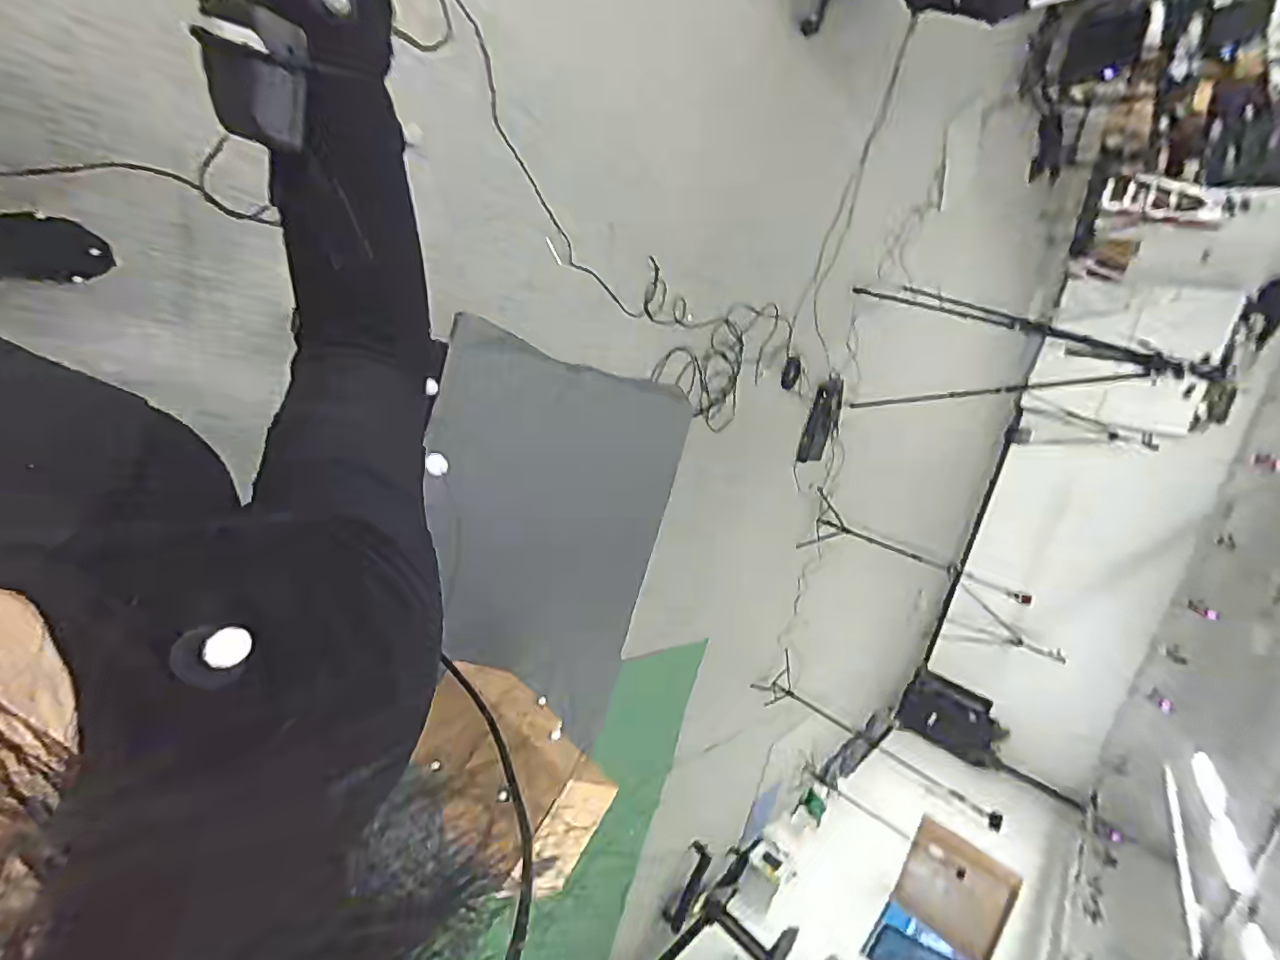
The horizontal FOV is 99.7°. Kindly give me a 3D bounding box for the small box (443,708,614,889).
[{"bbox_3d":[-0.181,0.499,0.854,0.179,0.176,0.168,-55,141,-15],"label":"small box"}]
